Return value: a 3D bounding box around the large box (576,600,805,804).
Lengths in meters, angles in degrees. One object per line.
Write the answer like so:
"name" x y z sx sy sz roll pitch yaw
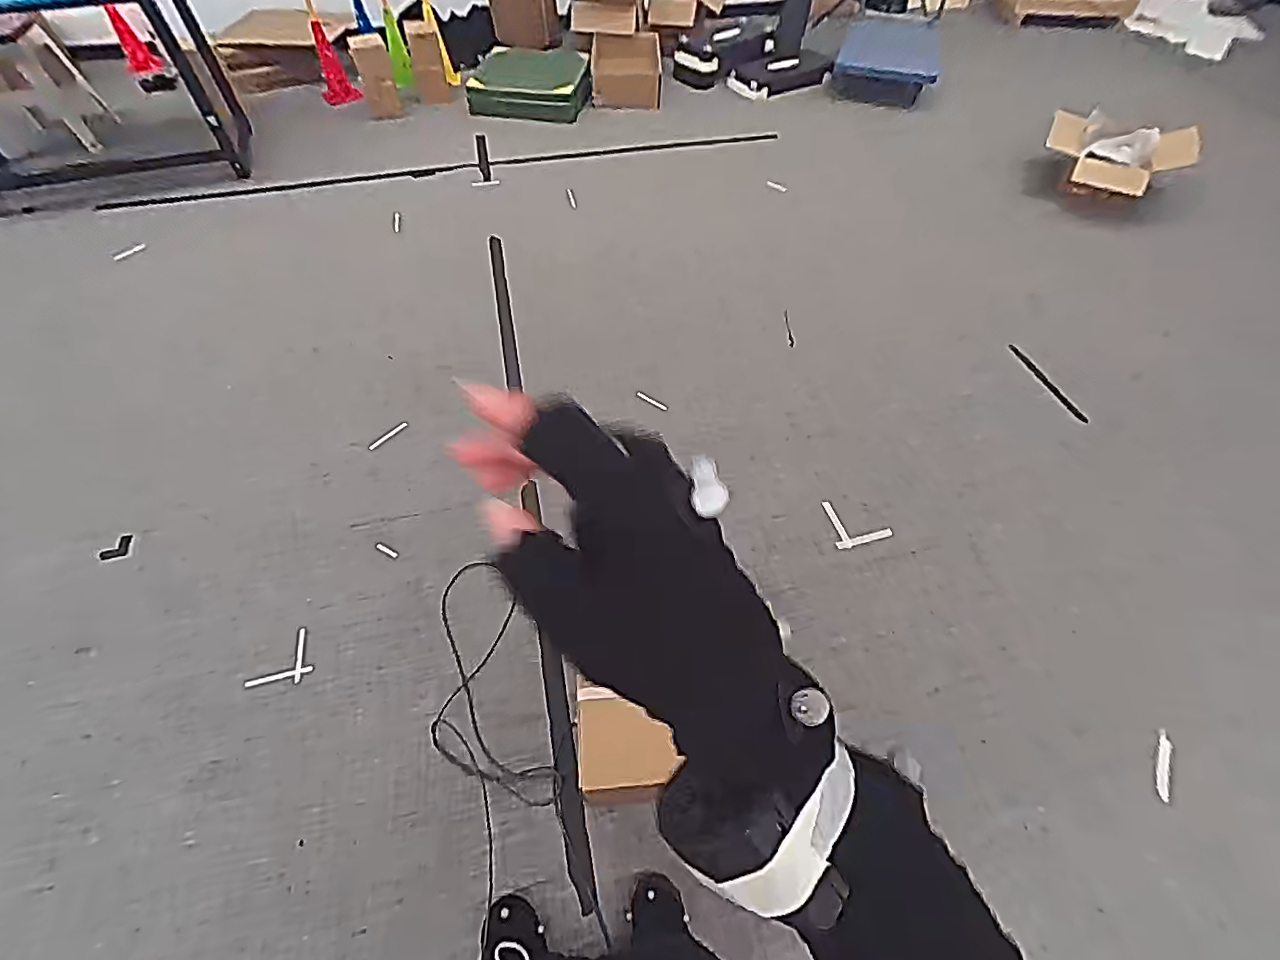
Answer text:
"large box" 0.078 0.474 1.146 0.408 0.320 0.320 -3 55 -5
